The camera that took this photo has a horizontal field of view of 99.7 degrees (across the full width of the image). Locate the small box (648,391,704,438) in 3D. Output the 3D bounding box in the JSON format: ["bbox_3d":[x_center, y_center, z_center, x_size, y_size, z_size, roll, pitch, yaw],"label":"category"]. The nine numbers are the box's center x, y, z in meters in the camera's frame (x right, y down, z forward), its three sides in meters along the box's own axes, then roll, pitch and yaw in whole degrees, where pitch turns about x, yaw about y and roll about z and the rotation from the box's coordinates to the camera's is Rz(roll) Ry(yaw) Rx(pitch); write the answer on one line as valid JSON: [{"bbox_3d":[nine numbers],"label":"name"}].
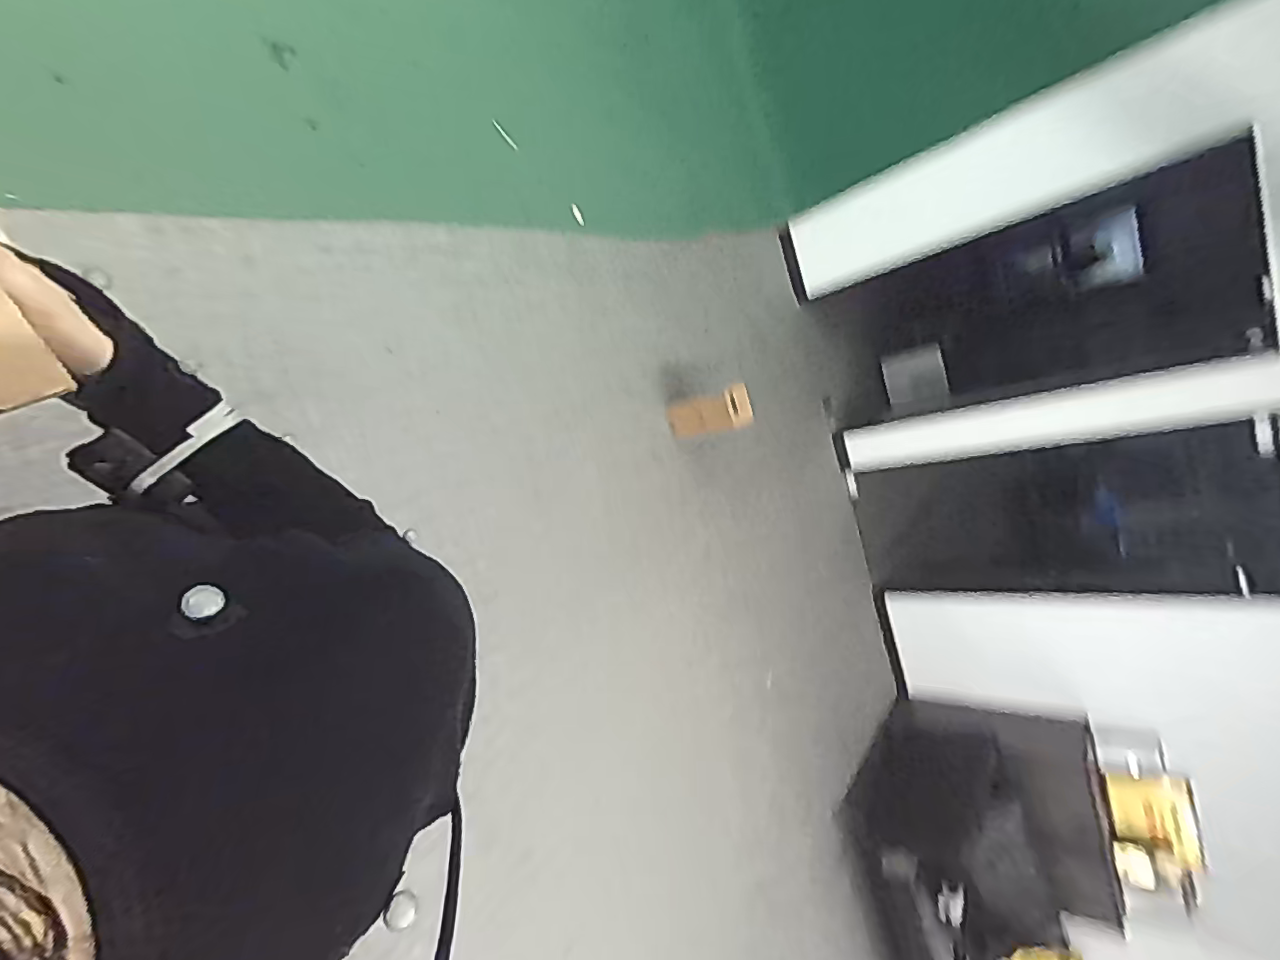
[{"bbox_3d":[0.165,-0.302,2.484,0.179,0.176,0.168,-25,102,-47],"label":"small box"}]
